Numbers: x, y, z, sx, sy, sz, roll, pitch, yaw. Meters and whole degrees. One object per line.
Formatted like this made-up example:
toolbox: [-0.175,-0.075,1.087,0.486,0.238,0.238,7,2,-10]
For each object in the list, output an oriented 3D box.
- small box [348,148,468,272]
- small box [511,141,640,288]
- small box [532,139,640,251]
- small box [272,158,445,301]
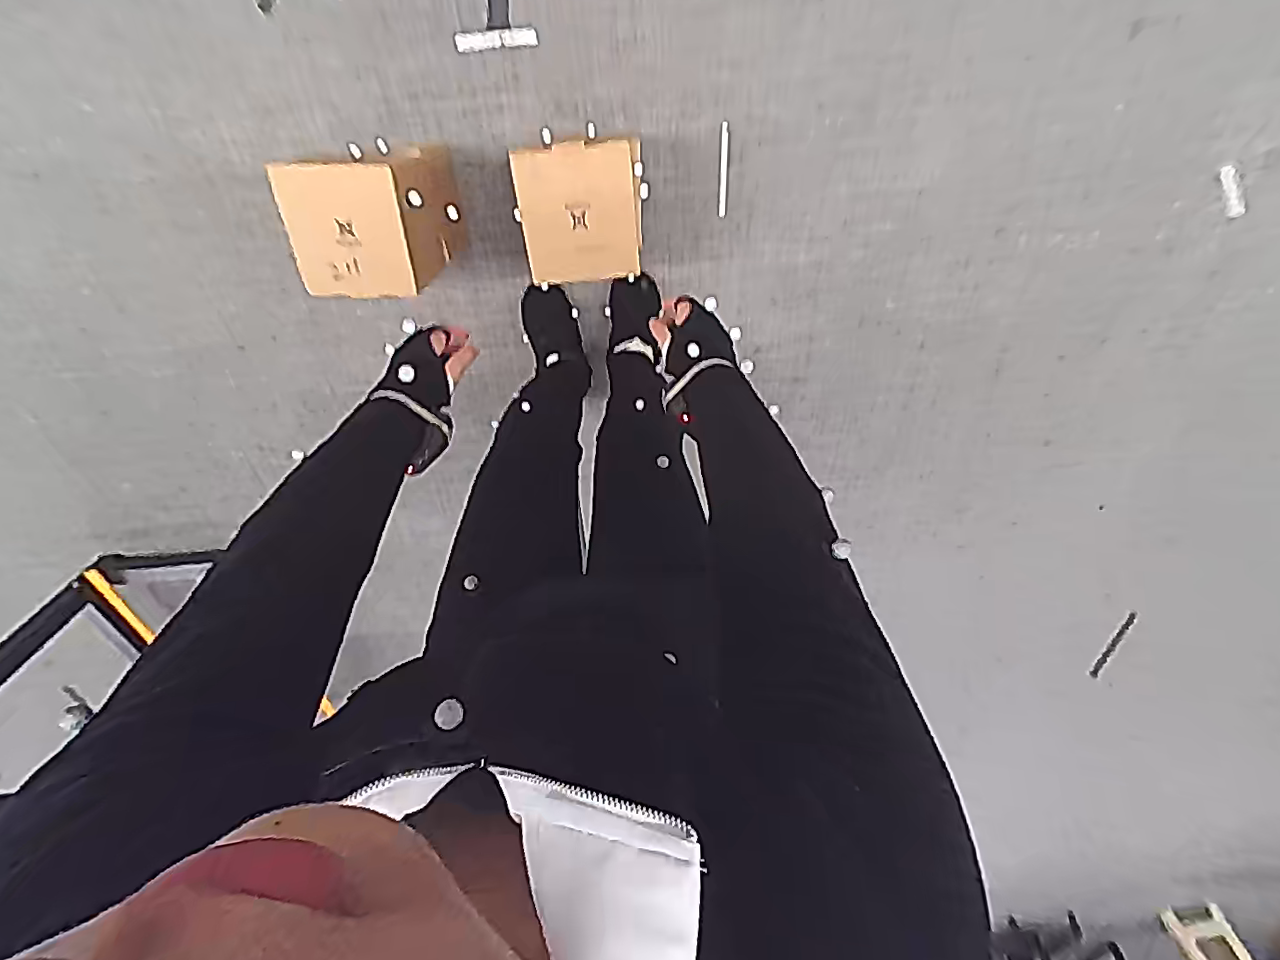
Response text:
small box: [-0.424,-0.484,0.975,0.168,0.176,0.179,-4,126,1]
small box: [-0.090,-0.416,0.839,0.168,0.176,0.179,-5,127,3]
small box: [-0.090,-0.510,0.972,0.179,0.176,0.168,-2,126,-2]
small box: [-0.418,-0.391,0.837,0.168,0.176,0.179,0,126,-2]
